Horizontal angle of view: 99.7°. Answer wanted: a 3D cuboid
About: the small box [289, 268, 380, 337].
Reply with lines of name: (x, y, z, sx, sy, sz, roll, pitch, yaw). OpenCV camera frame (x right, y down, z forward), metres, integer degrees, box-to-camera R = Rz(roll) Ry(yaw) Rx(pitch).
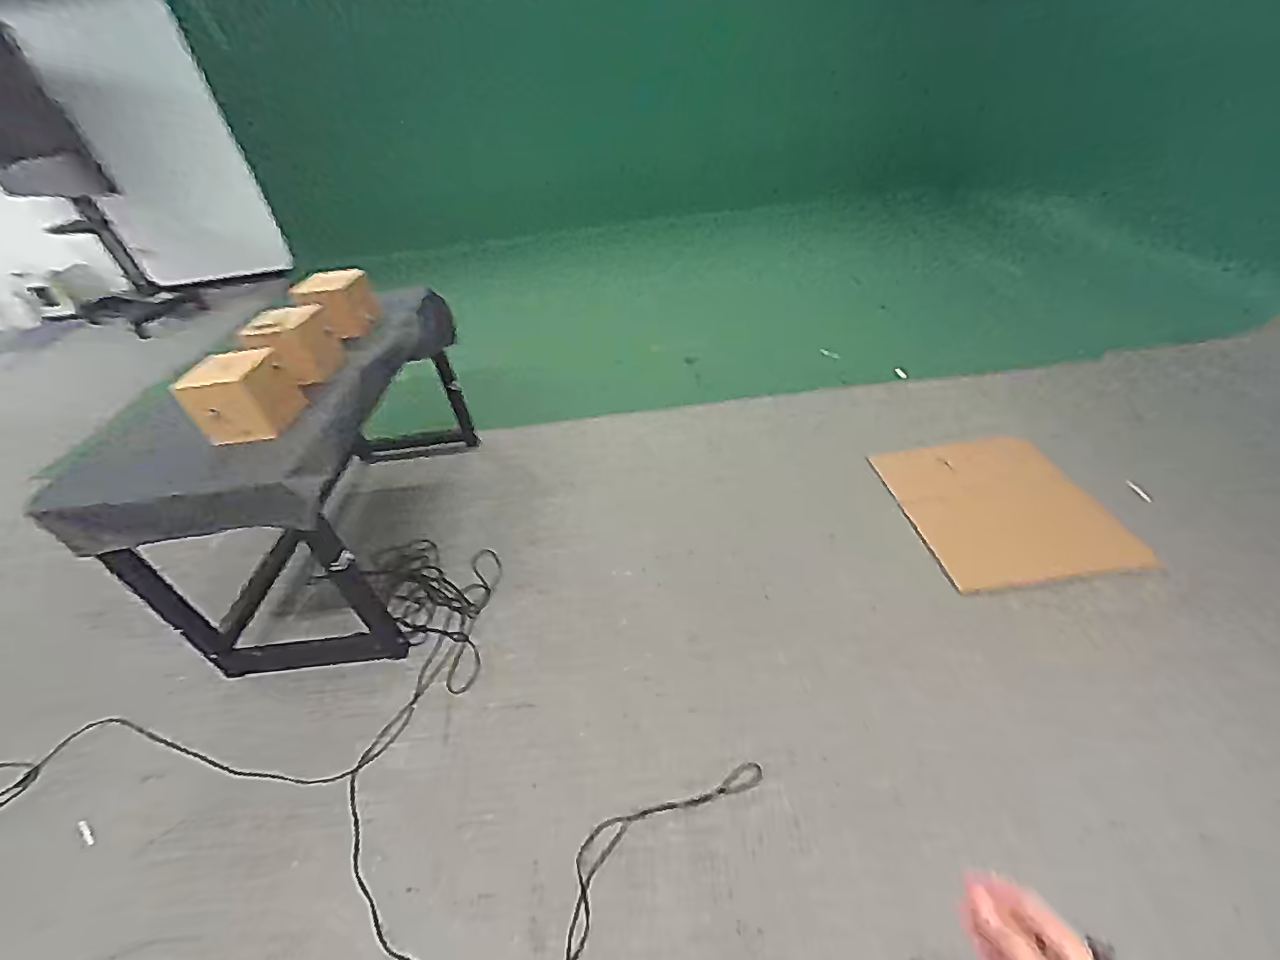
small box: (-1.012, -0.590, 1.805, 0.179, 0.176, 0.168, -2, 41, 7)

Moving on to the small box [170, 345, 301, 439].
small box: (-0.990, -0.214, 1.348, 0.168, 0.176, 0.179, -7, 39, 2)
